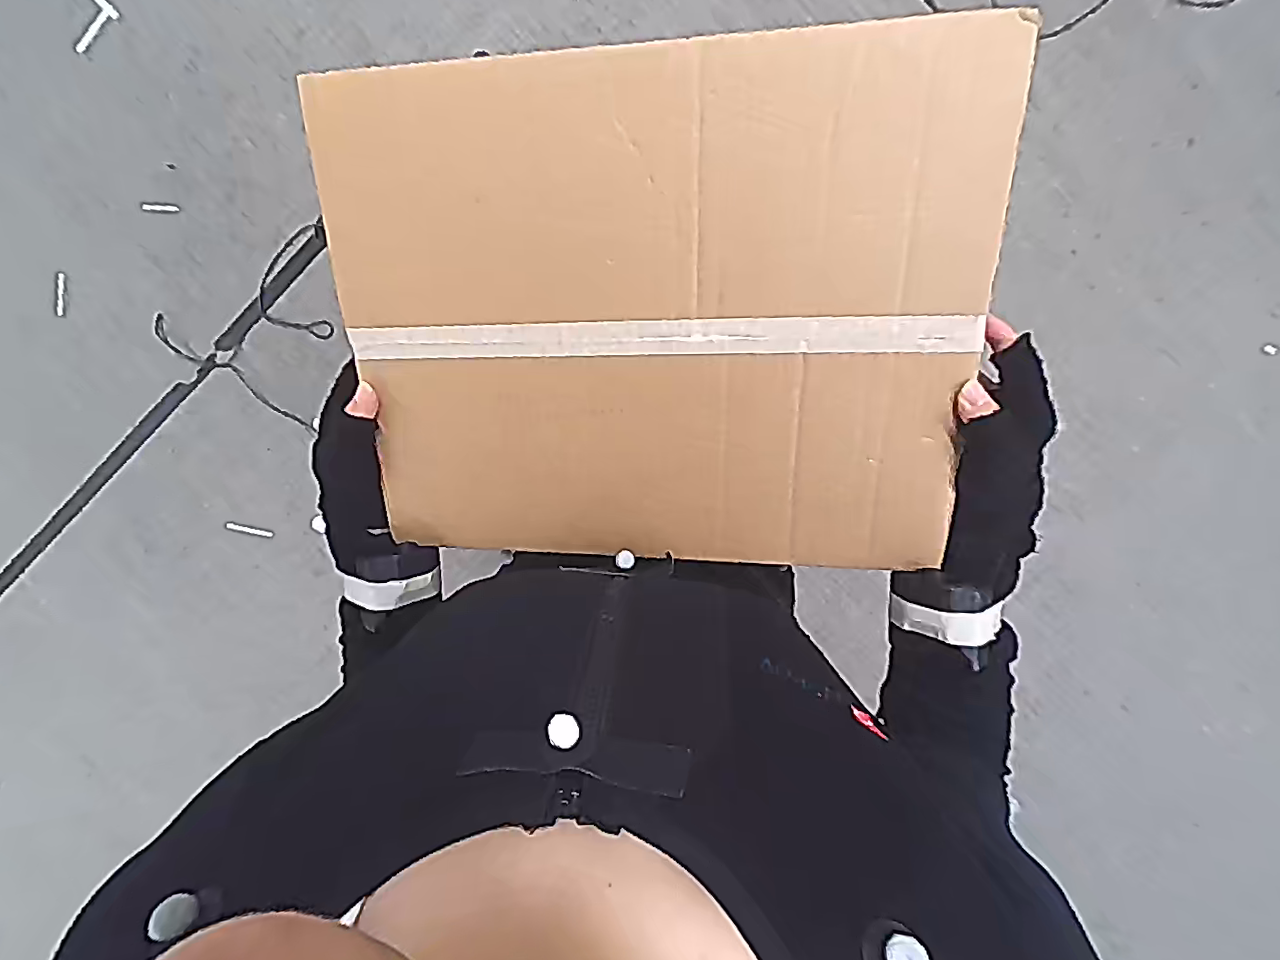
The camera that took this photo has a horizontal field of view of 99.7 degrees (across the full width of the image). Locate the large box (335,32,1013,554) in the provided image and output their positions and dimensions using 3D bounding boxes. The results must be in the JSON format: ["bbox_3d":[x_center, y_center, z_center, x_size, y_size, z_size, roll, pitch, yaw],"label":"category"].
[{"bbox_3d":[0.026,-0.143,0.500,0.408,0.320,0.320,2,111,8],"label":"large box"}]
